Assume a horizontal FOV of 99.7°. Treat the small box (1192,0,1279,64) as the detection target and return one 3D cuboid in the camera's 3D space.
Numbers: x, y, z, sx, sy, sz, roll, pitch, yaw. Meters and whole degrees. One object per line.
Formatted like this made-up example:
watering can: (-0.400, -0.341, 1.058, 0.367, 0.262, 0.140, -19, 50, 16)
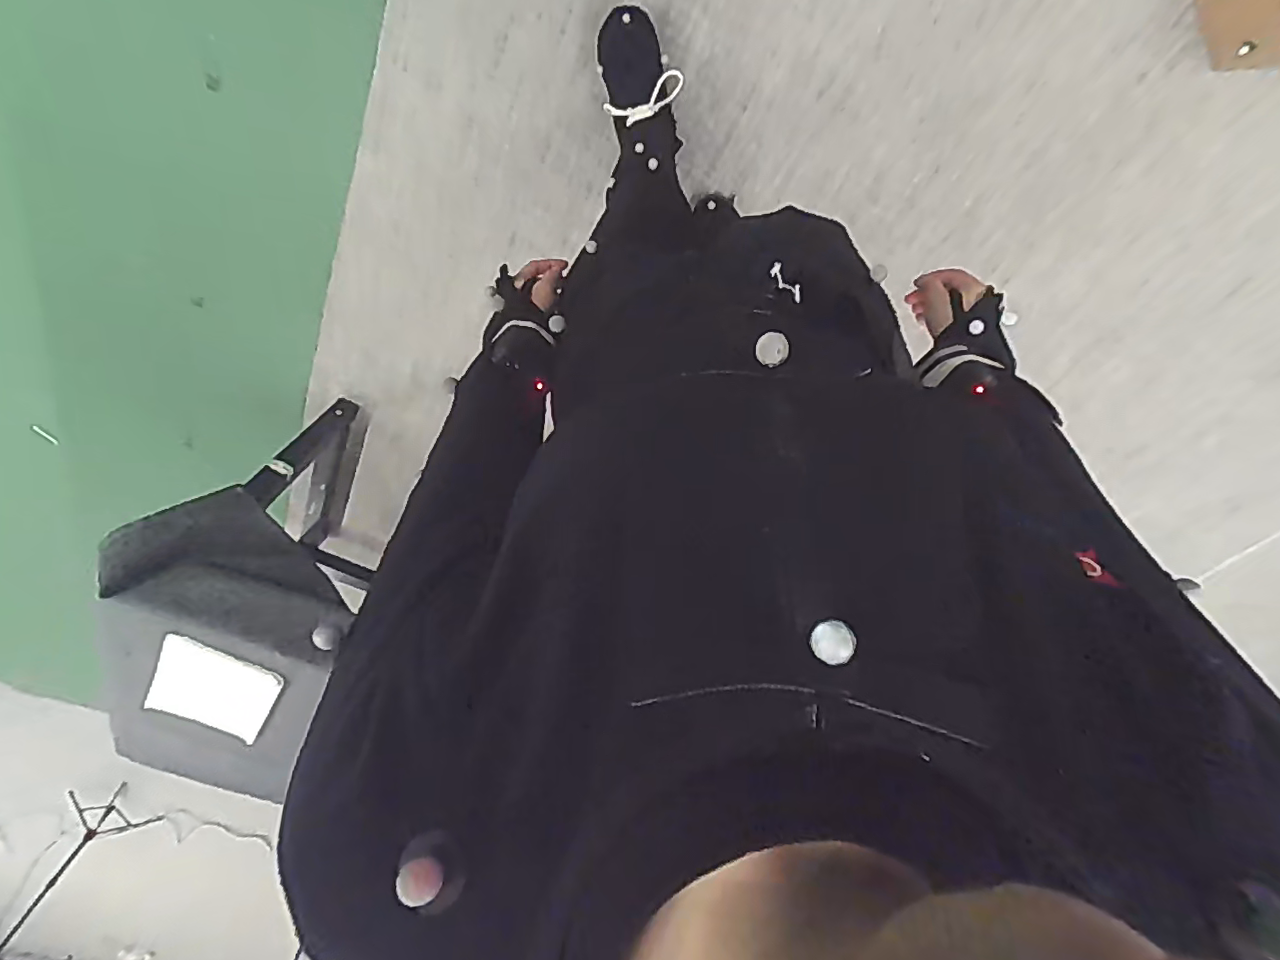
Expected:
small box: (0.999, -0.774, 0.816, 0.168, 0.176, 0.179, -37, 114, 26)
